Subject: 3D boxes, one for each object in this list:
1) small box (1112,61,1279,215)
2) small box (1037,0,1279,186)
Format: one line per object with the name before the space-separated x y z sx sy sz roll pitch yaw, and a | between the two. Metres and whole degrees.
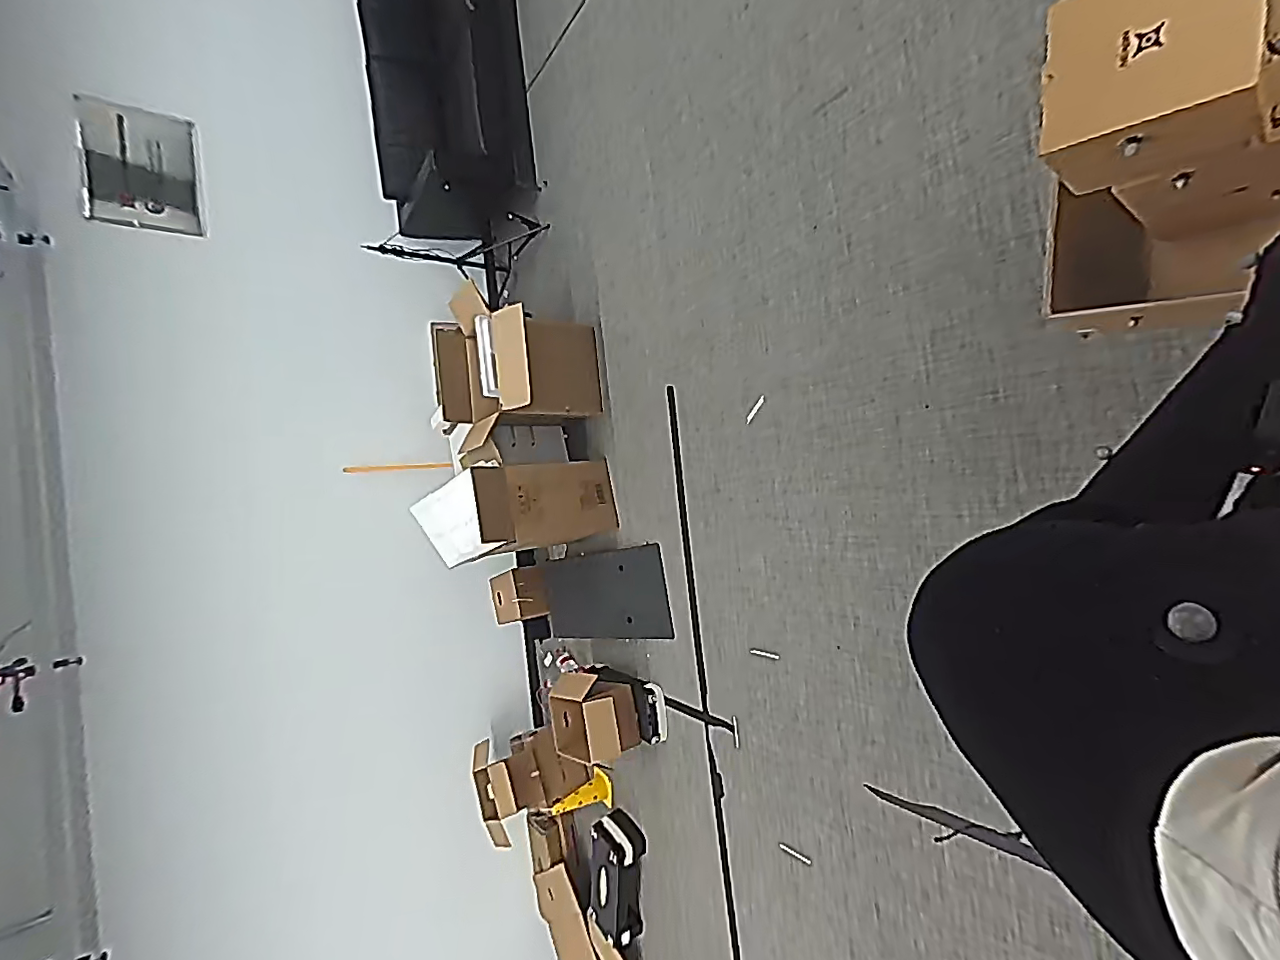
small box | 0.725 -0.467 0.683 0.168 0.176 0.179 3 96 53
small box | 0.580 -0.459 0.604 0.179 0.176 0.168 8 99 52
